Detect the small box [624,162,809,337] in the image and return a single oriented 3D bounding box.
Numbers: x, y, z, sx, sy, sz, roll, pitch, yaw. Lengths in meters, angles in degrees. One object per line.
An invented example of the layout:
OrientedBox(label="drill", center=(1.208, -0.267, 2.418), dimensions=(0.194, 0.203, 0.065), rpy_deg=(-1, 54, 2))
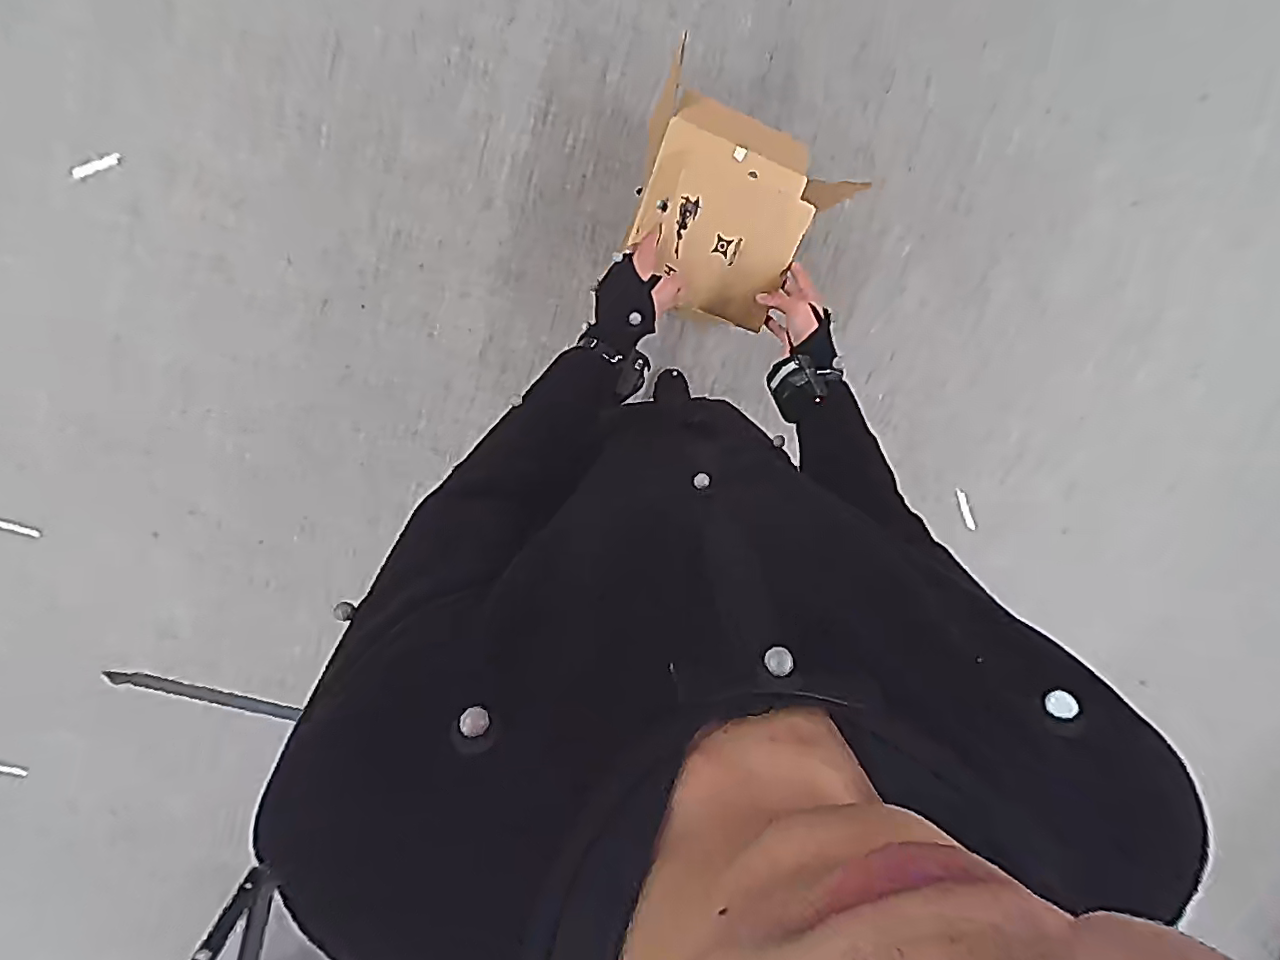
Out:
OrientedBox(label="small box", center=(0.092, -0.324, 0.752), dimensions=(0.179, 0.176, 0.168), rpy_deg=(14, 117, -19))
